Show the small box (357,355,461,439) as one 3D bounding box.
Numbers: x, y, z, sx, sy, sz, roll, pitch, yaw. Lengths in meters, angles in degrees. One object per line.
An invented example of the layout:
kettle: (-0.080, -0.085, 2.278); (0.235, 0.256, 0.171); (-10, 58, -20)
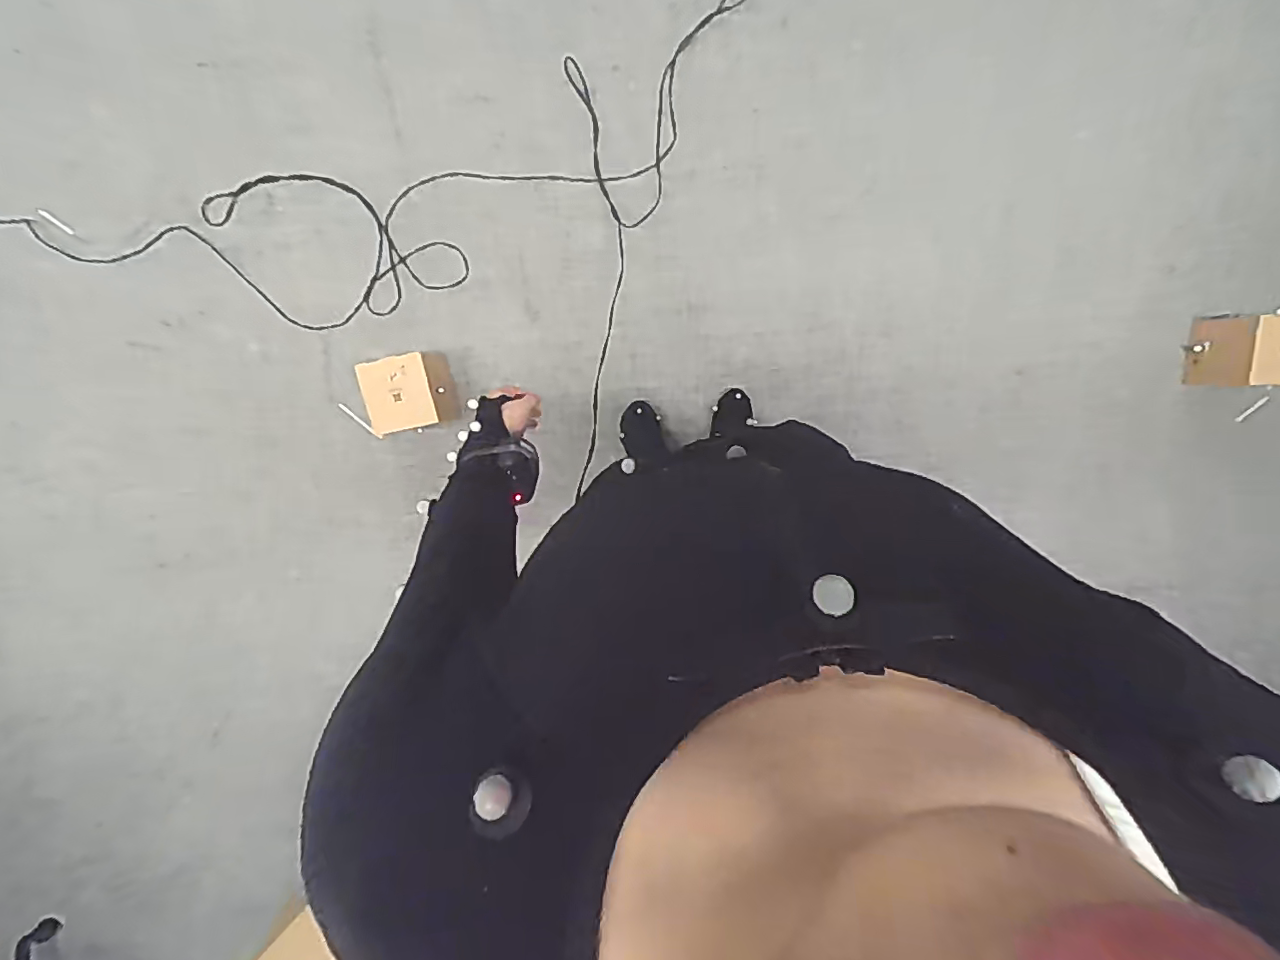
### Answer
small box: (-0.572, -0.211, 1.365); (0.168, 0.176, 0.179); (-12, 100, 2)

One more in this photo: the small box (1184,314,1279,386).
small box: (1.535, -0.323, 1.349); (0.179, 0.176, 0.168); (-3, 100, 2)
